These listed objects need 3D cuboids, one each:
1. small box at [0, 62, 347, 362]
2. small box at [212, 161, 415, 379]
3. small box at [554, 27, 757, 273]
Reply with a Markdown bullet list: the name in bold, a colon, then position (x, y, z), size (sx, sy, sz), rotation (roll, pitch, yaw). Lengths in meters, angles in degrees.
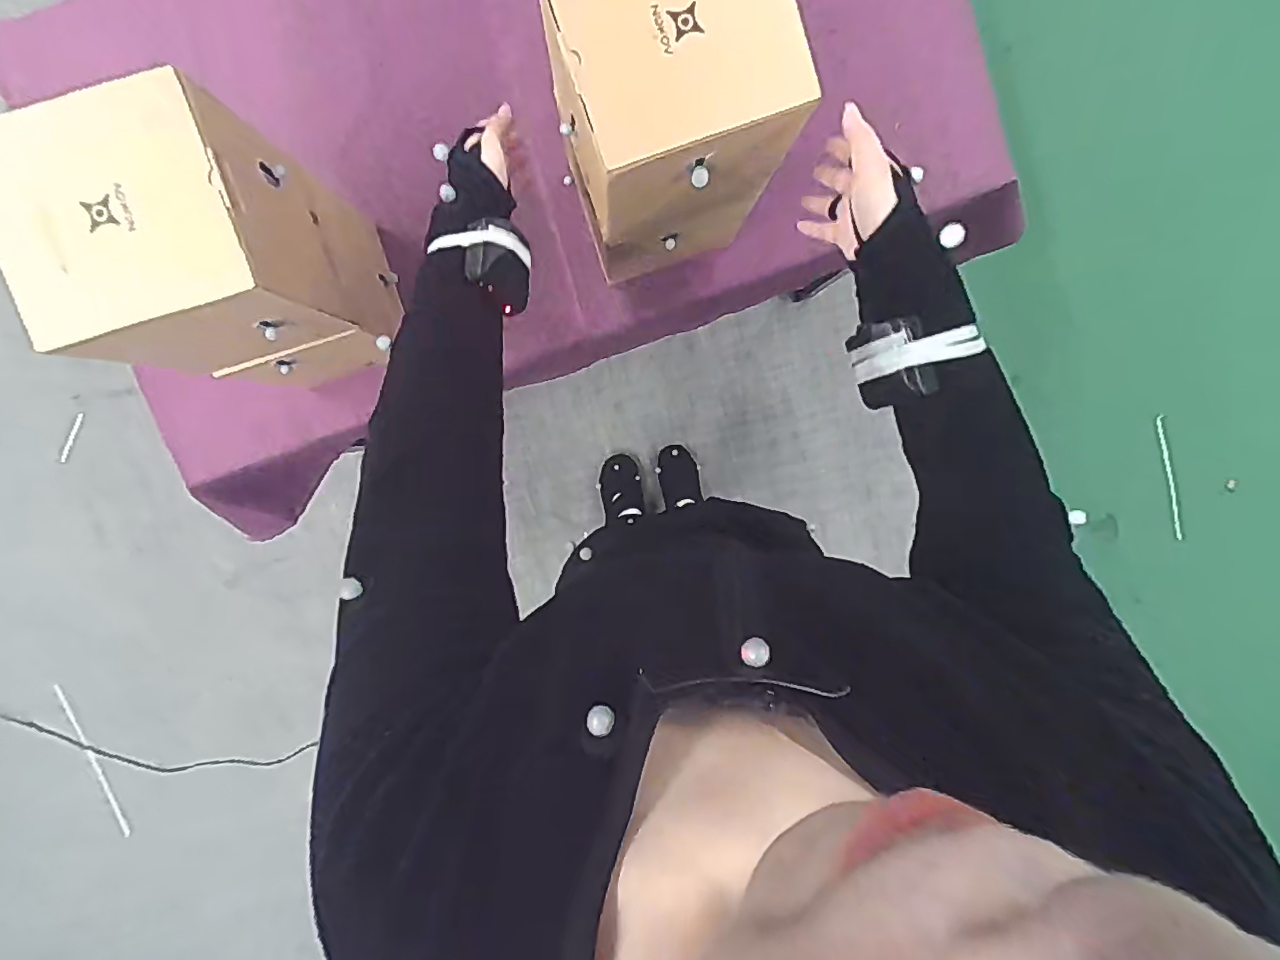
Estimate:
- **small box**: position (-0.393, -0.211, 0.478), size (0.179, 0.176, 0.168), rotation (-16, 97, 1)
- **small box**: position (-0.398, -0.230, 0.641), size (0.168, 0.176, 0.179), rotation (-17, 96, 1)
- **small box**: position (0.016, -0.365, 0.636), size (0.179, 0.176, 0.168), rotation (-18, 97, 0)
